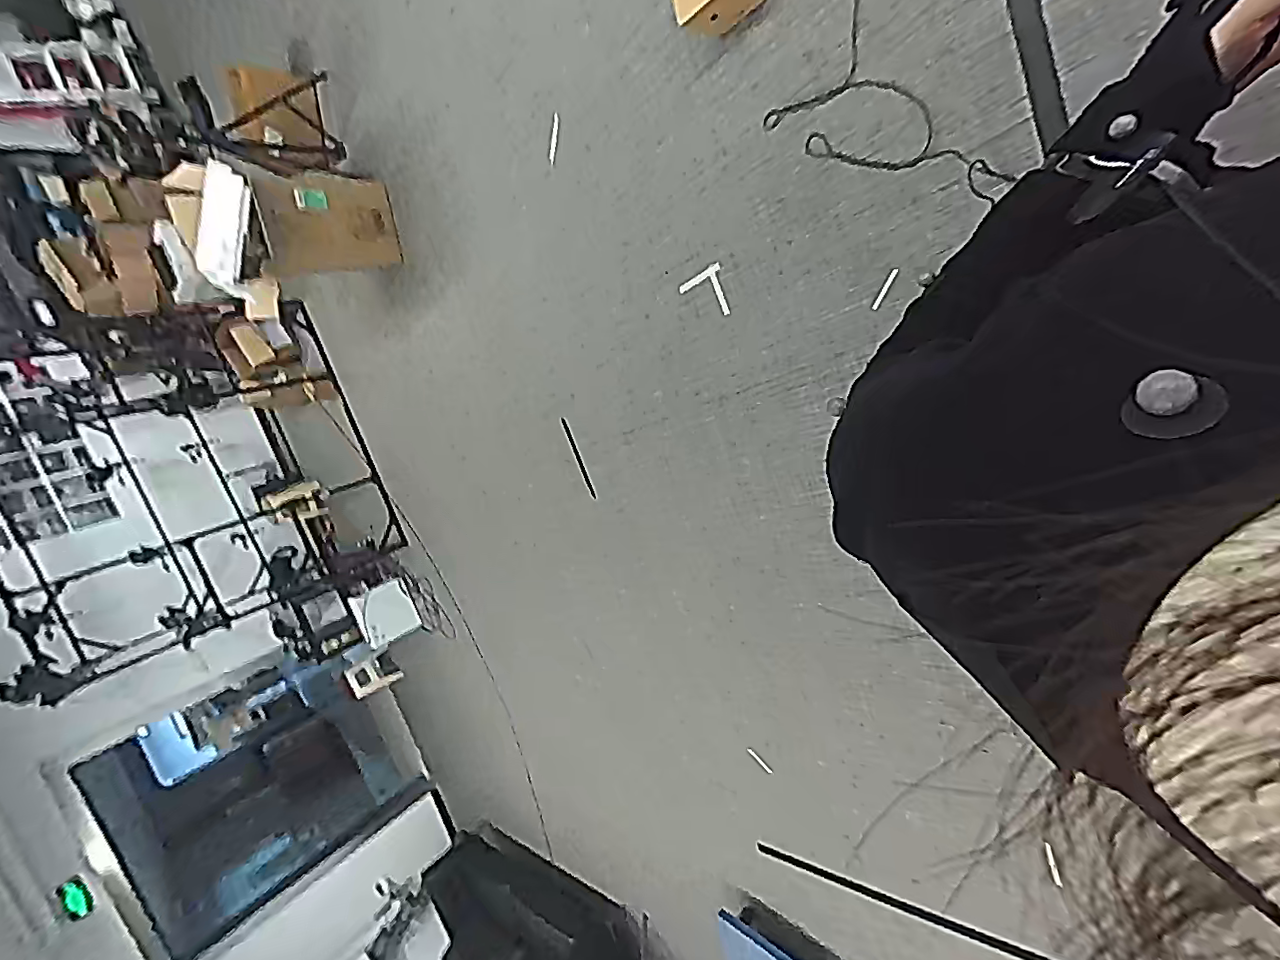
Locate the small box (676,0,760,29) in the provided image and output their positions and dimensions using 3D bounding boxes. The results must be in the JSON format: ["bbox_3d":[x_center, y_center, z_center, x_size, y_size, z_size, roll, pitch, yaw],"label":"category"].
[{"bbox_3d":[0.190,-1.249,1.321,0.168,0.176,0.179,-4,107,46],"label":"small box"}]
